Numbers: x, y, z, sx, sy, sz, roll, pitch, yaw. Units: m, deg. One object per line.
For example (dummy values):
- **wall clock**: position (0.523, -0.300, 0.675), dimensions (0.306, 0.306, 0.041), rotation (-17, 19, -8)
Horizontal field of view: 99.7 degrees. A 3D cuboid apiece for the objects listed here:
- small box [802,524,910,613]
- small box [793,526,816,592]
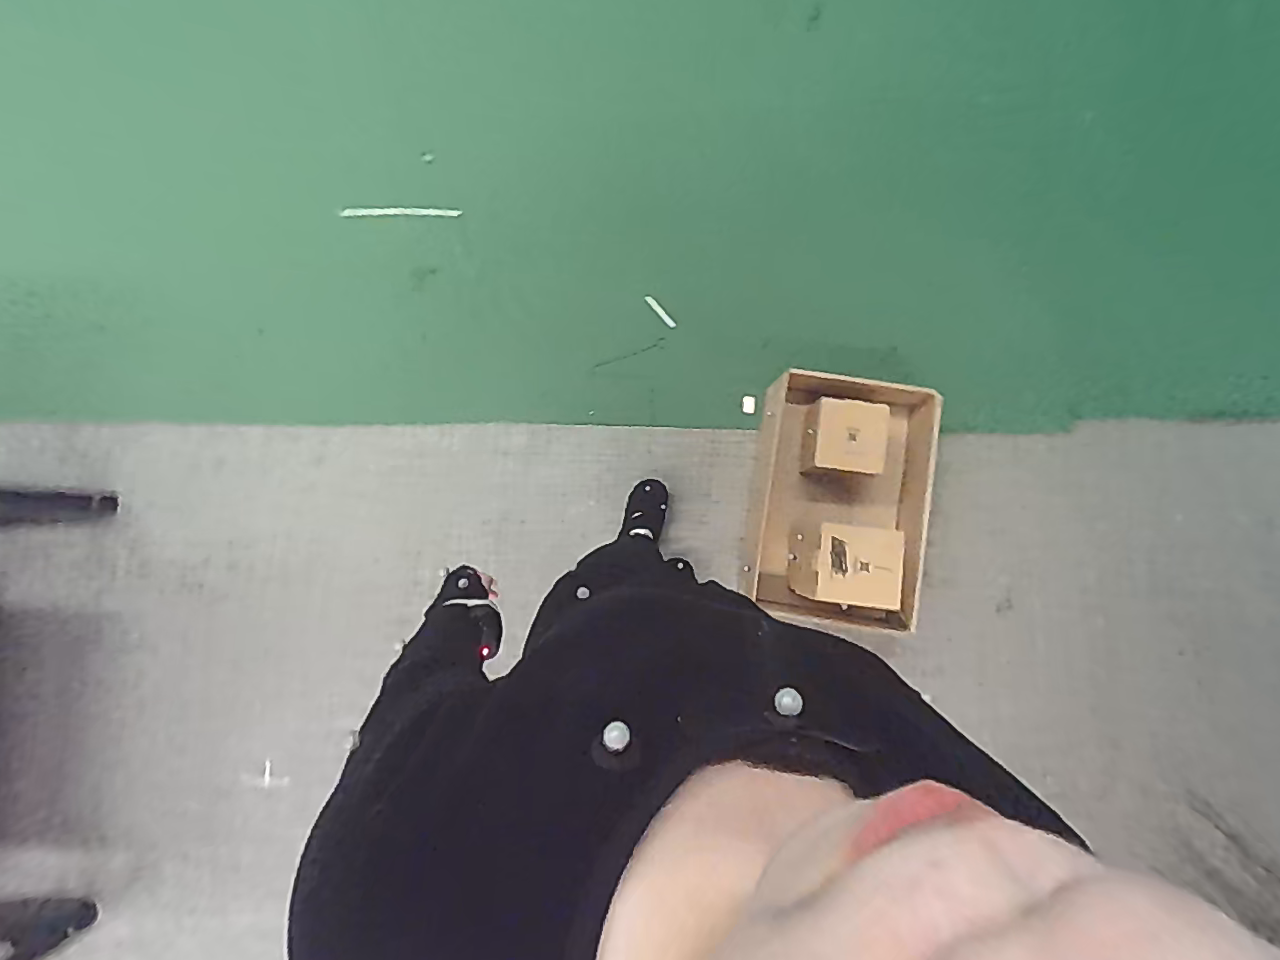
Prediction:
- **small box**: position (0.467, 0.192, 1.195), dimensions (0.179, 0.176, 0.168), rotation (7, 84, 3)
- **small box**: position (0.490, 0.209, 1.358), dimensions (0.179, 0.176, 0.168), rotation (5, 84, 4)
